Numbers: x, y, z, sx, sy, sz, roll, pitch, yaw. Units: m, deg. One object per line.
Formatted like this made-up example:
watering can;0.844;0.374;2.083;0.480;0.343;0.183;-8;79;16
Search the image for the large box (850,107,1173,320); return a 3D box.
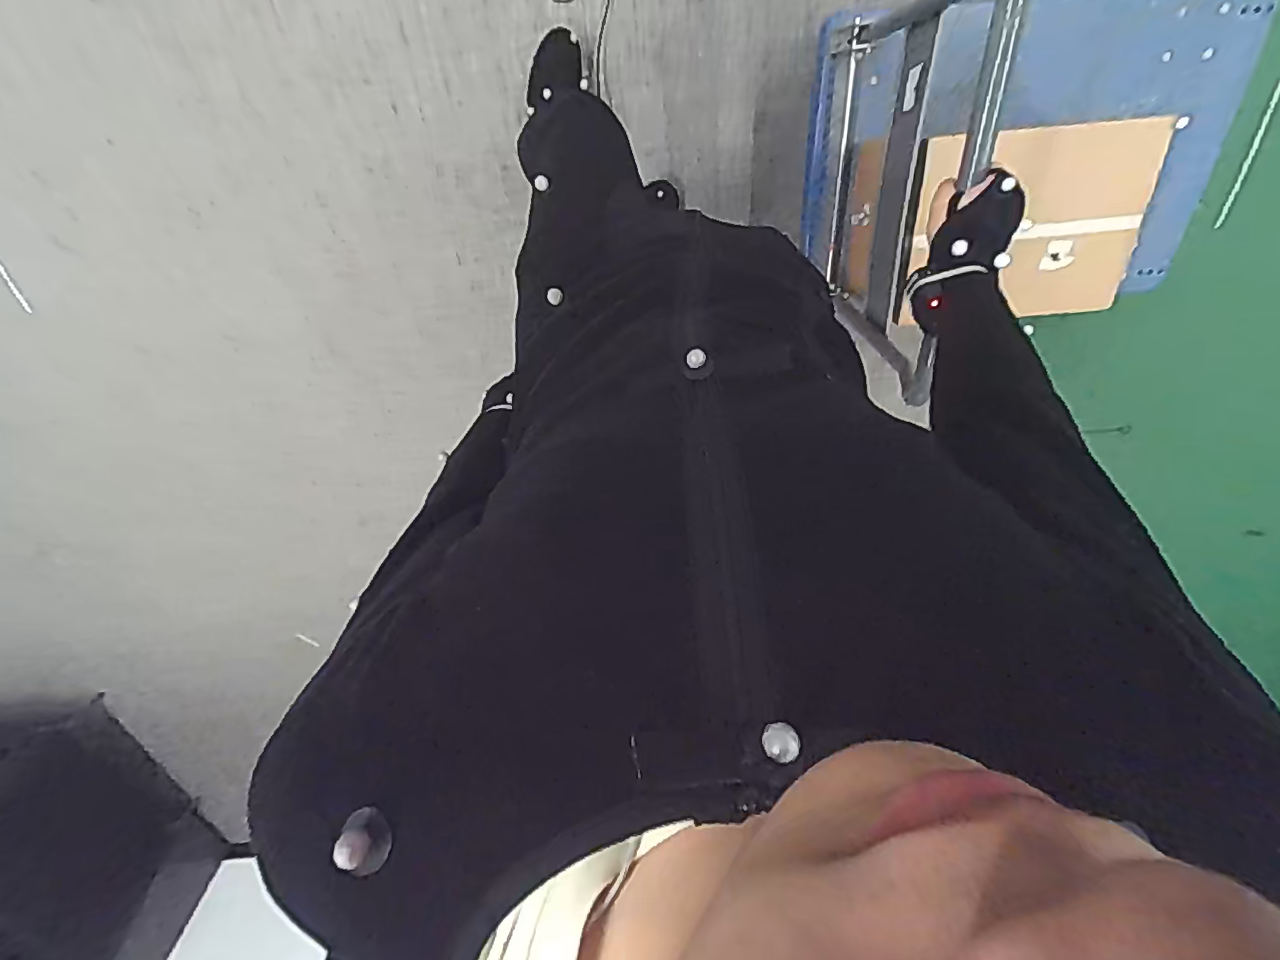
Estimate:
large box;0.685;-0.534;1.091;0.408;0.320;0.320;-5;122;2
